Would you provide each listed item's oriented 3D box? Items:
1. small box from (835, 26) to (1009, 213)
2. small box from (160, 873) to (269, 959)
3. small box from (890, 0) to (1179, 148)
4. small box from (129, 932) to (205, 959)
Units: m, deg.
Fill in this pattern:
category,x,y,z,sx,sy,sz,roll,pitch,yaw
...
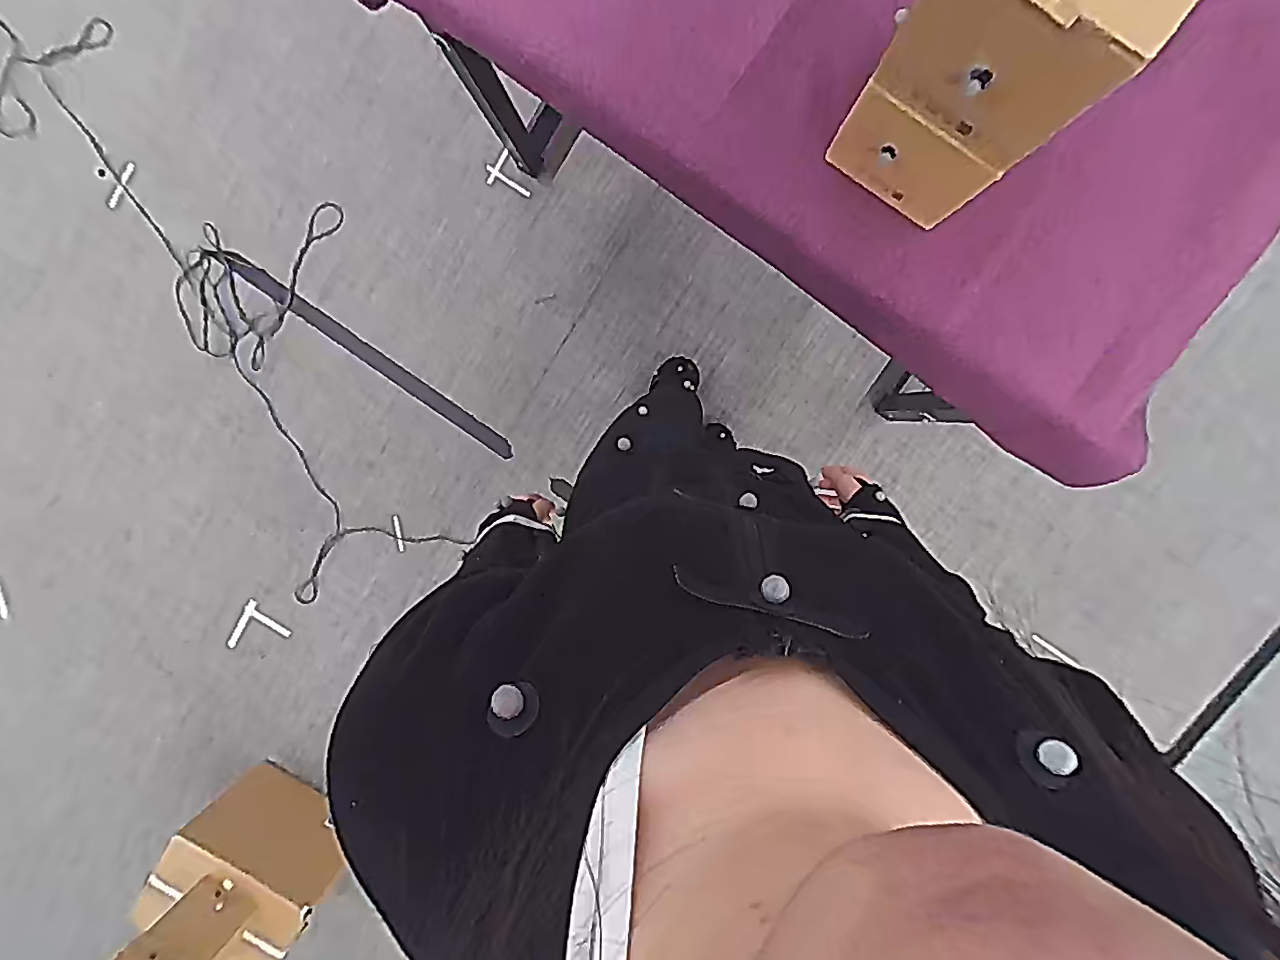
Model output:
category,x,y,z,sx,sy,sz,roll,pitch,yaw
small box,0.344,-0.439,0.605,0.168,0.176,0.179,33,98,-1
small box,-1.077,1.145,1.345,0.168,0.176,0.179,30,98,-1
small box,0.336,-0.422,0.442,0.168,0.176,0.179,34,98,-1
small box,-1.089,1.159,1.184,0.168,0.176,0.179,29,99,1
